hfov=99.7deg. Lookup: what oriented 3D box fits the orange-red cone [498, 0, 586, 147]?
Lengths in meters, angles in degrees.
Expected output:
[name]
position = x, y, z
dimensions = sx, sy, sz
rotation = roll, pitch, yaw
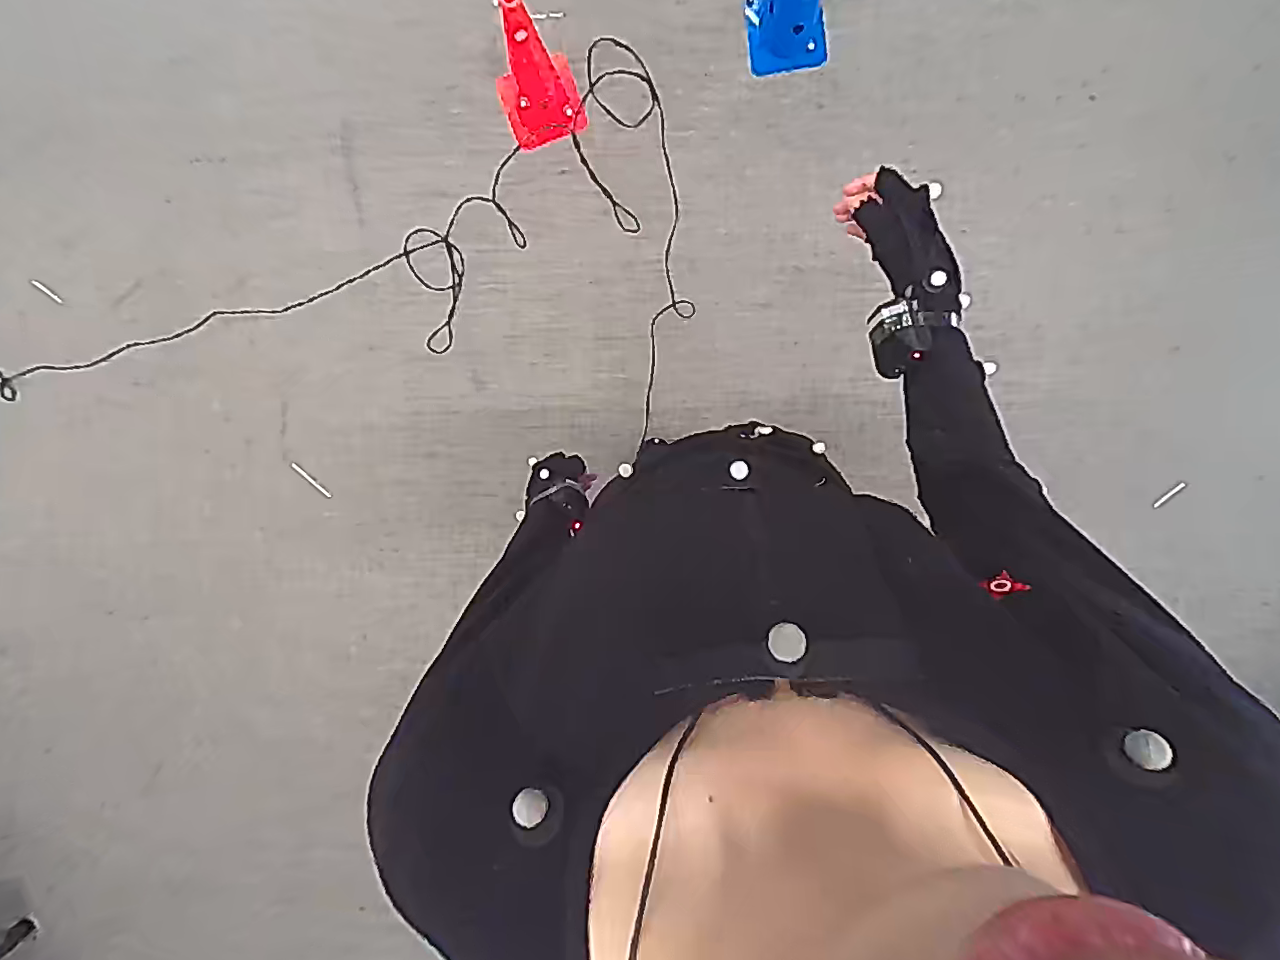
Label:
[orange-red cone]
position = -0.260, -0.986, 1.250
dimensions = 0.198, 0.360, 0.199
rotation = -20, 93, 2
